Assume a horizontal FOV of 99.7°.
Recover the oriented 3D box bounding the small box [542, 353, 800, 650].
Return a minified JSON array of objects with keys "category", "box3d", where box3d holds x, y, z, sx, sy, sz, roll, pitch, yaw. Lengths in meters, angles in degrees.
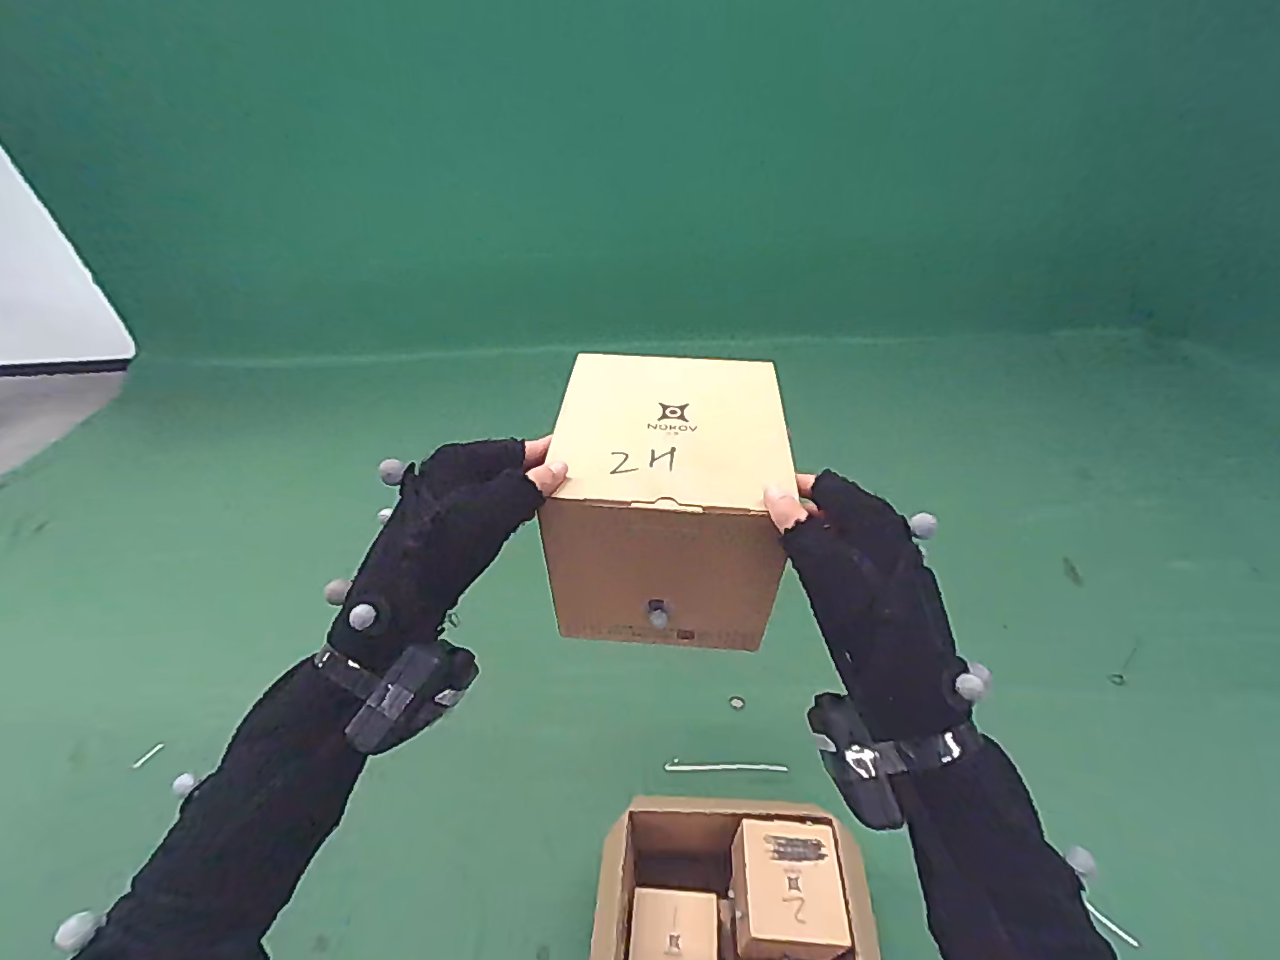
[{"category":"small box","box3d":[0.024,0.015,0.451,0.168,0.176,0.179,3,43,3]}]
